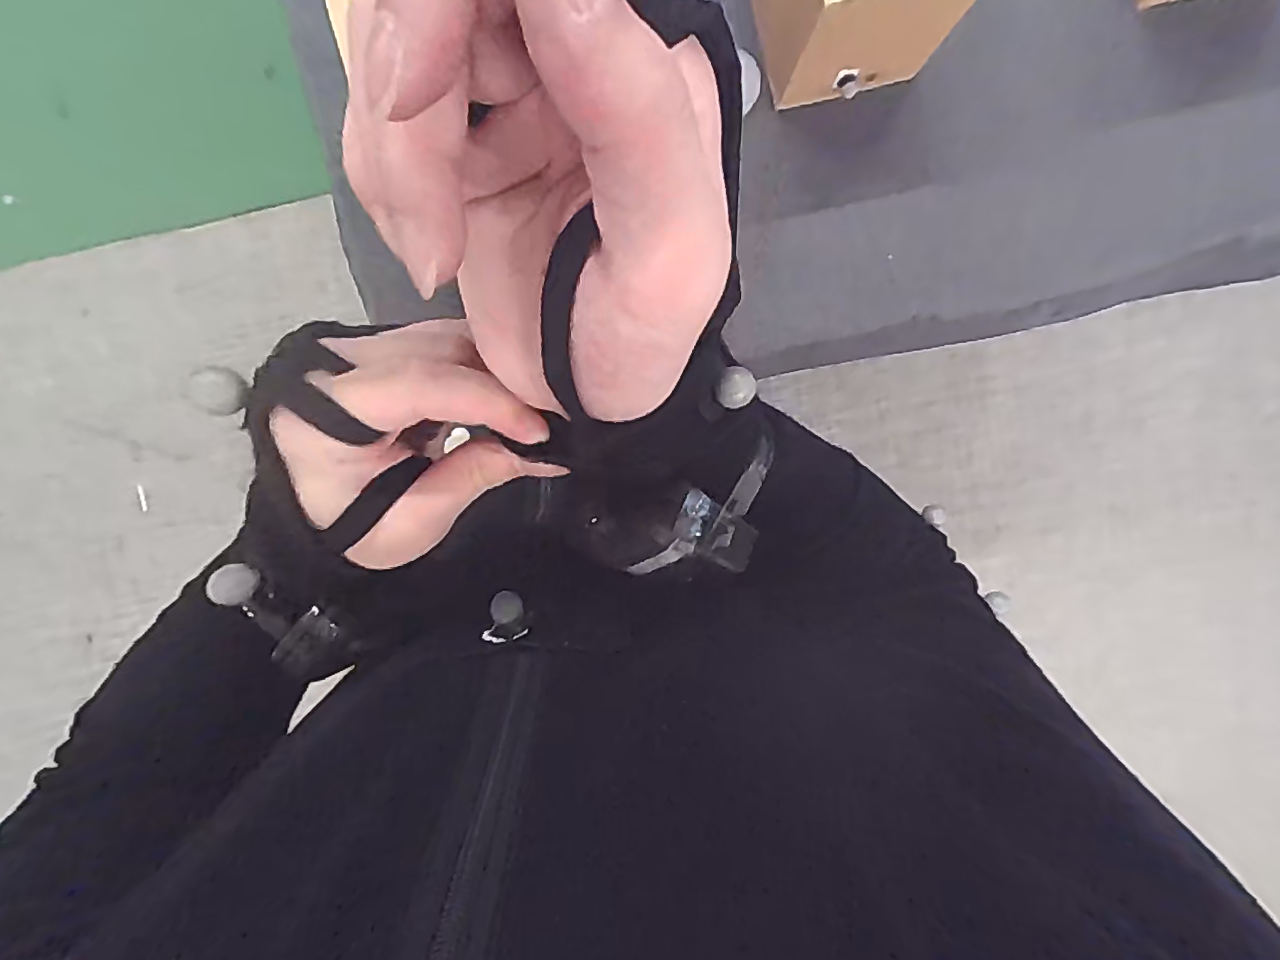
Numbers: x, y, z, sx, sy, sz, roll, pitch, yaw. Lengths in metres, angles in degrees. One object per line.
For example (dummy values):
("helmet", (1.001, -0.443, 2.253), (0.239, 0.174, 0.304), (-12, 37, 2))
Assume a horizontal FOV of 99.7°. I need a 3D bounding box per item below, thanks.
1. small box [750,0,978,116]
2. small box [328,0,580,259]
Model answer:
("small box", (0.212, -0.507, 0.529), (0.168, 0.176, 0.179), (-15, 97, 1))
("small box", (-0.164, -0.347, 0.533), (0.168, 0.176, 0.179), (-15, 95, 0))
